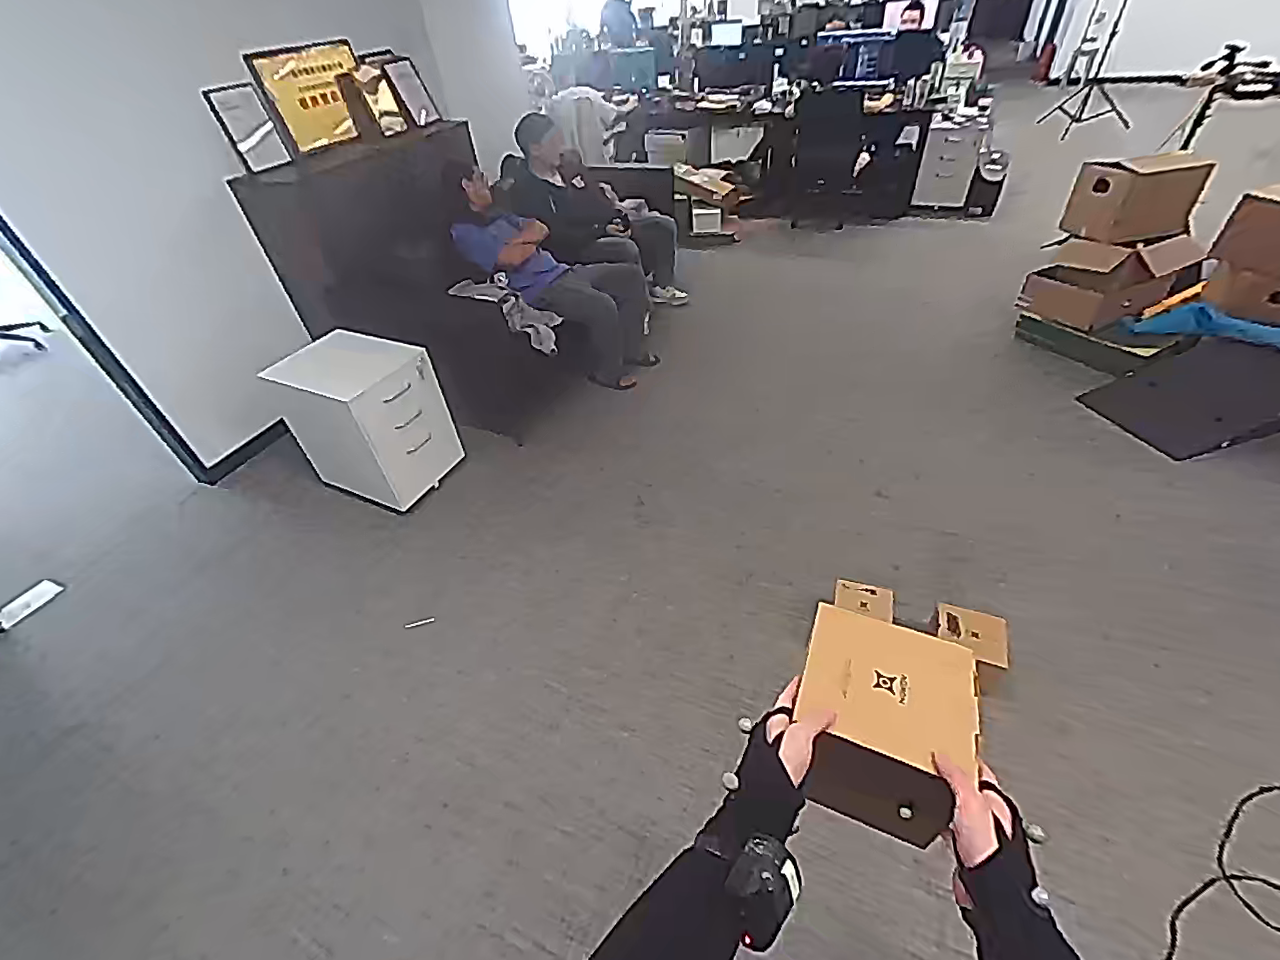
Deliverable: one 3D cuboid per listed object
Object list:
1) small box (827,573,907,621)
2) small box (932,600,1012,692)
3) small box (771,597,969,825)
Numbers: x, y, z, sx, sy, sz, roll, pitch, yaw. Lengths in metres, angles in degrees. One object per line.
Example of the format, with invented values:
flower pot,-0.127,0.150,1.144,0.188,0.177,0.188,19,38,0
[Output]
small box,0.691,0.420,1.676,0.179,0.176,0.168,-11,40,-3
small box,0.952,0.486,1.574,0.179,0.176,0.168,16,49,24
small box,0.268,0.276,0.646,0.179,0.176,0.168,14,42,21
